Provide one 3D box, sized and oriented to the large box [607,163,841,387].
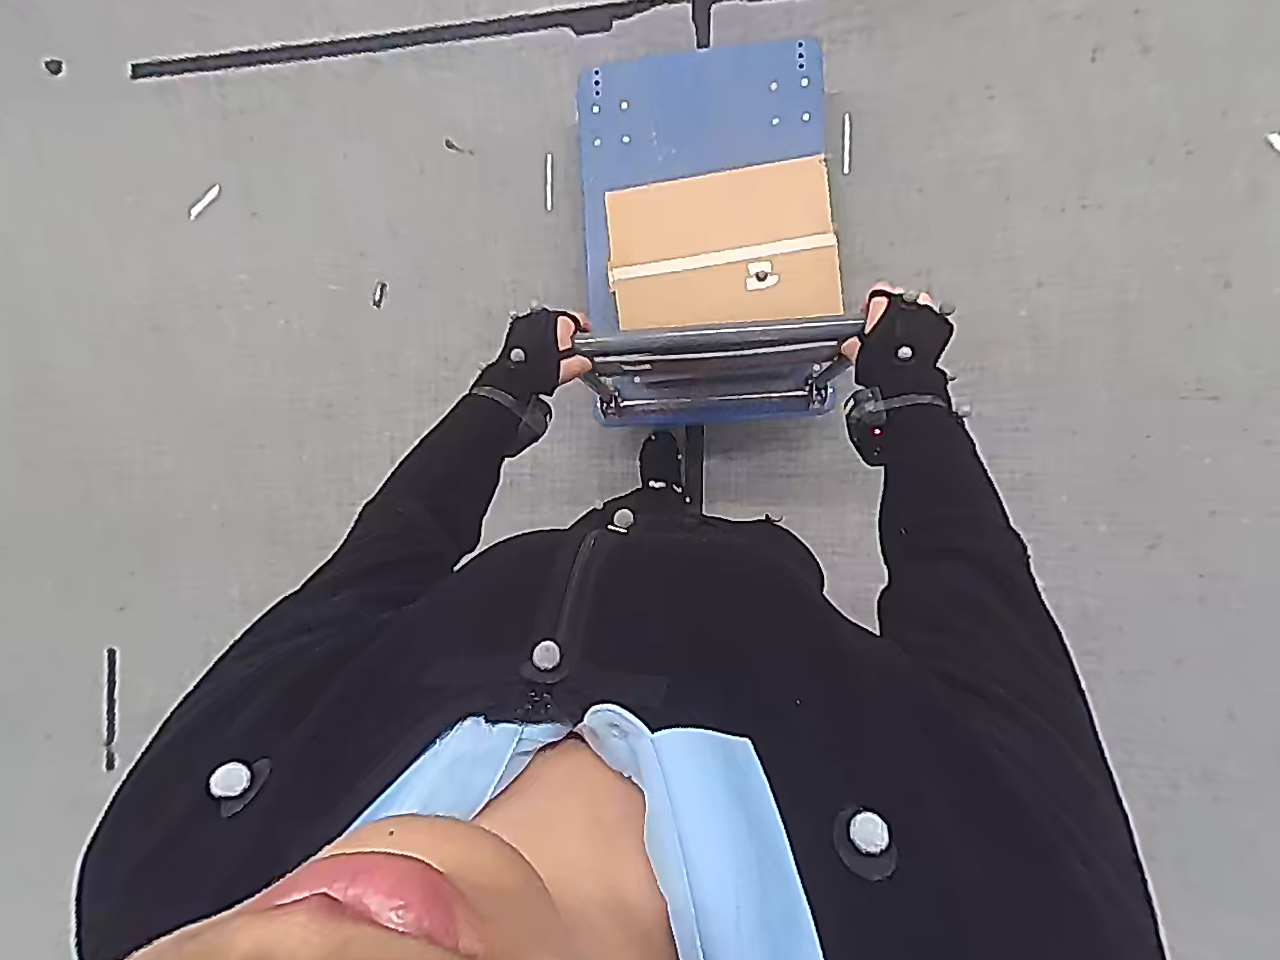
[{"bbox_3d":[0.164,-0.400,1.146,0.408,0.320,0.320,-7,91,5],"label":"large box"}]
